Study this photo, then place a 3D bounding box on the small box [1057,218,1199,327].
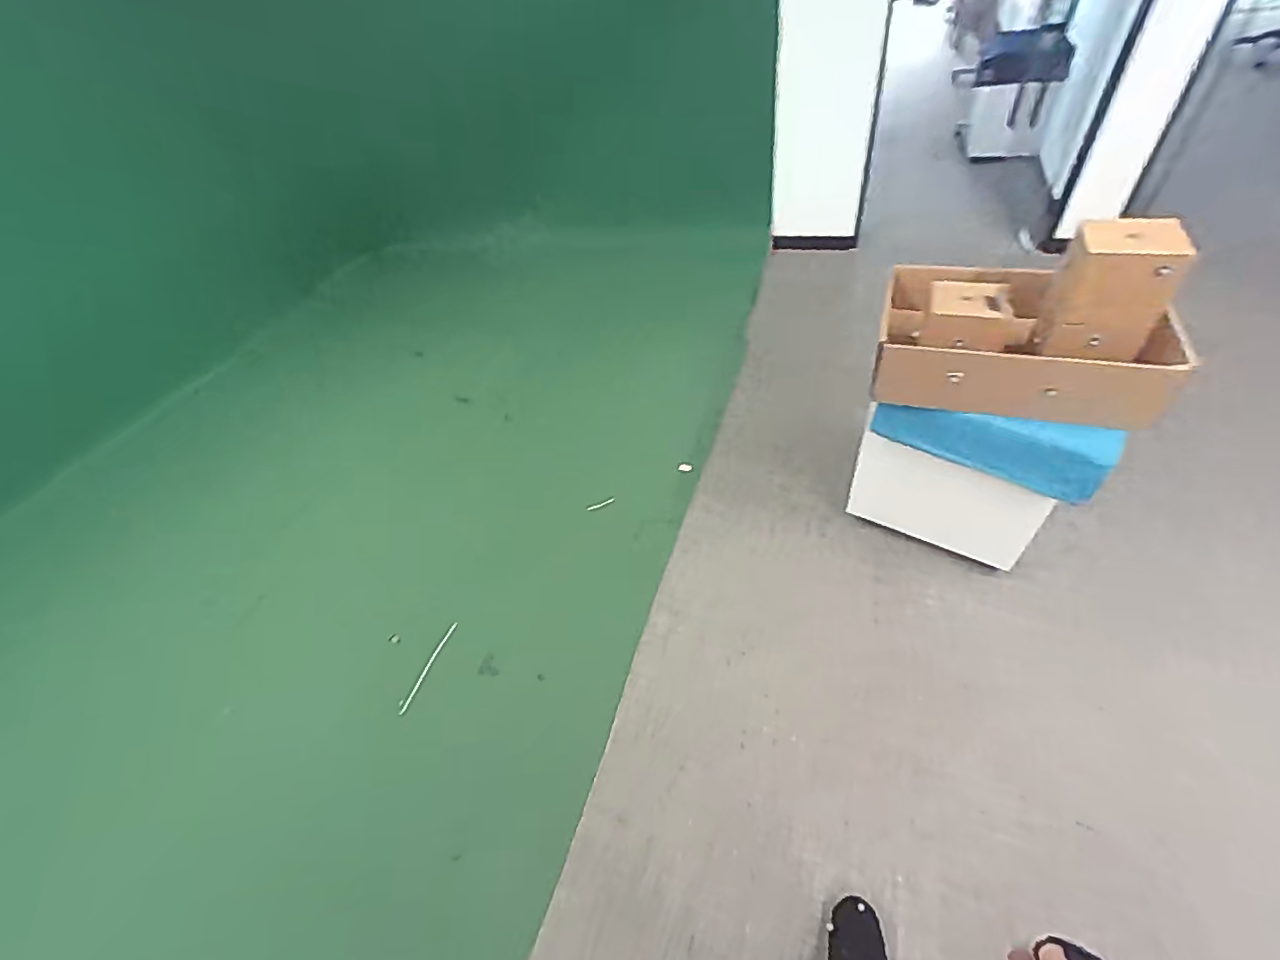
[{"bbox_3d":[1.044,-0.451,1.180,0.179,0.176,0.168,10,50,20],"label":"small box"}]
